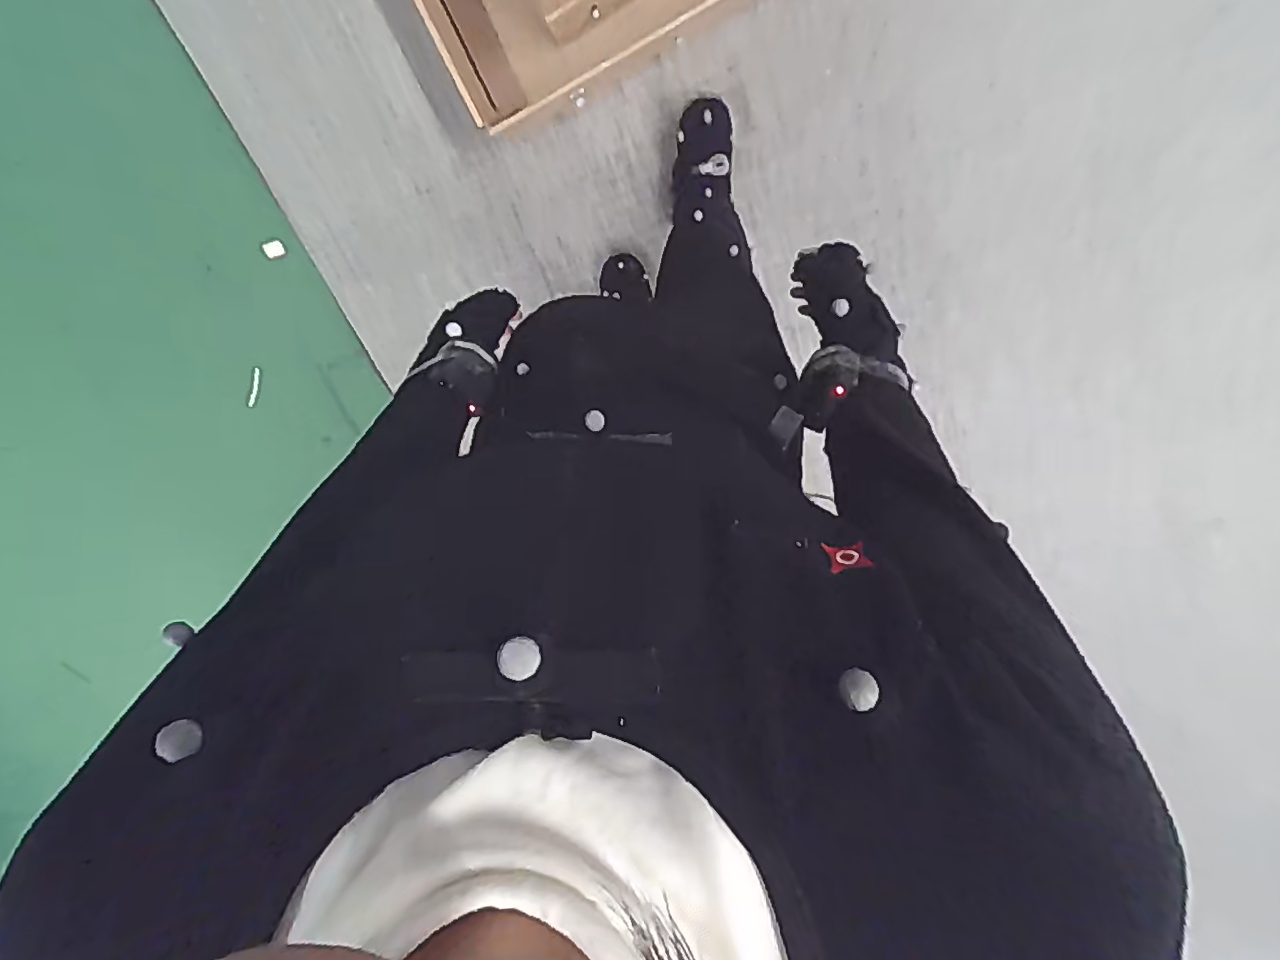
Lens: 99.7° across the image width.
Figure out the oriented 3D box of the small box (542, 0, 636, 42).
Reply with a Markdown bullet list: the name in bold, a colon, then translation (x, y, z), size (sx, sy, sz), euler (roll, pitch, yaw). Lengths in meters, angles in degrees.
- **small box**: translation (-0.098, -0.885, 0.903), size (0.179, 0.176, 0.168), euler (-22, 114, 15)
